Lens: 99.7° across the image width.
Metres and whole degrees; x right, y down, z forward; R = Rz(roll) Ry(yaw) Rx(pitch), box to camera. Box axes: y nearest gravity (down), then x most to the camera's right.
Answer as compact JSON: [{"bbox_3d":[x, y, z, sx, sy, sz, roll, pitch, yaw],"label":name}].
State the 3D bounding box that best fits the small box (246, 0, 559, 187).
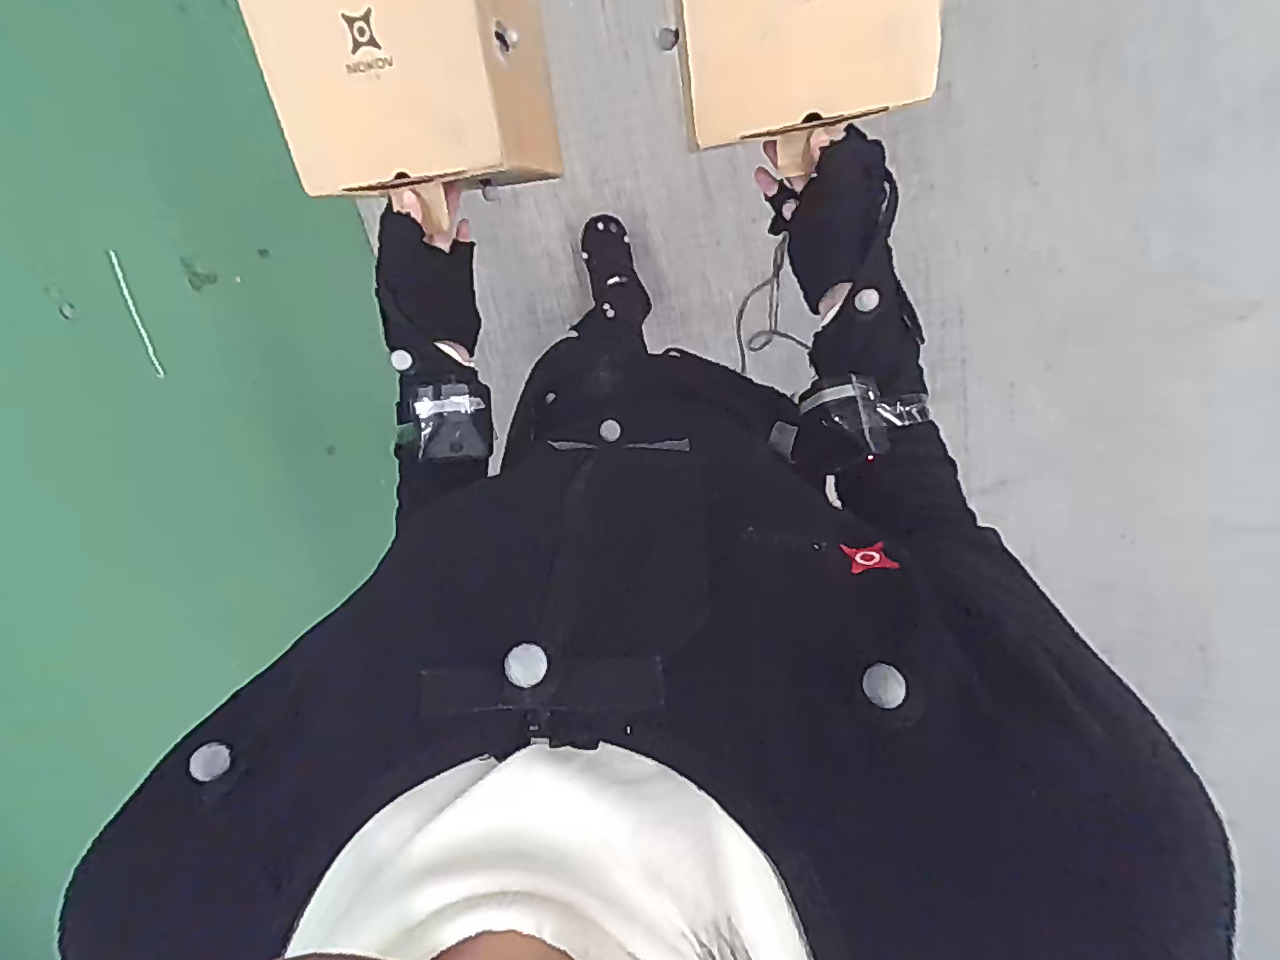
[{"bbox_3d":[-0.175,-0.345,0.439,0.168,0.176,0.179,-3,116,10],"label":"small box"}]
